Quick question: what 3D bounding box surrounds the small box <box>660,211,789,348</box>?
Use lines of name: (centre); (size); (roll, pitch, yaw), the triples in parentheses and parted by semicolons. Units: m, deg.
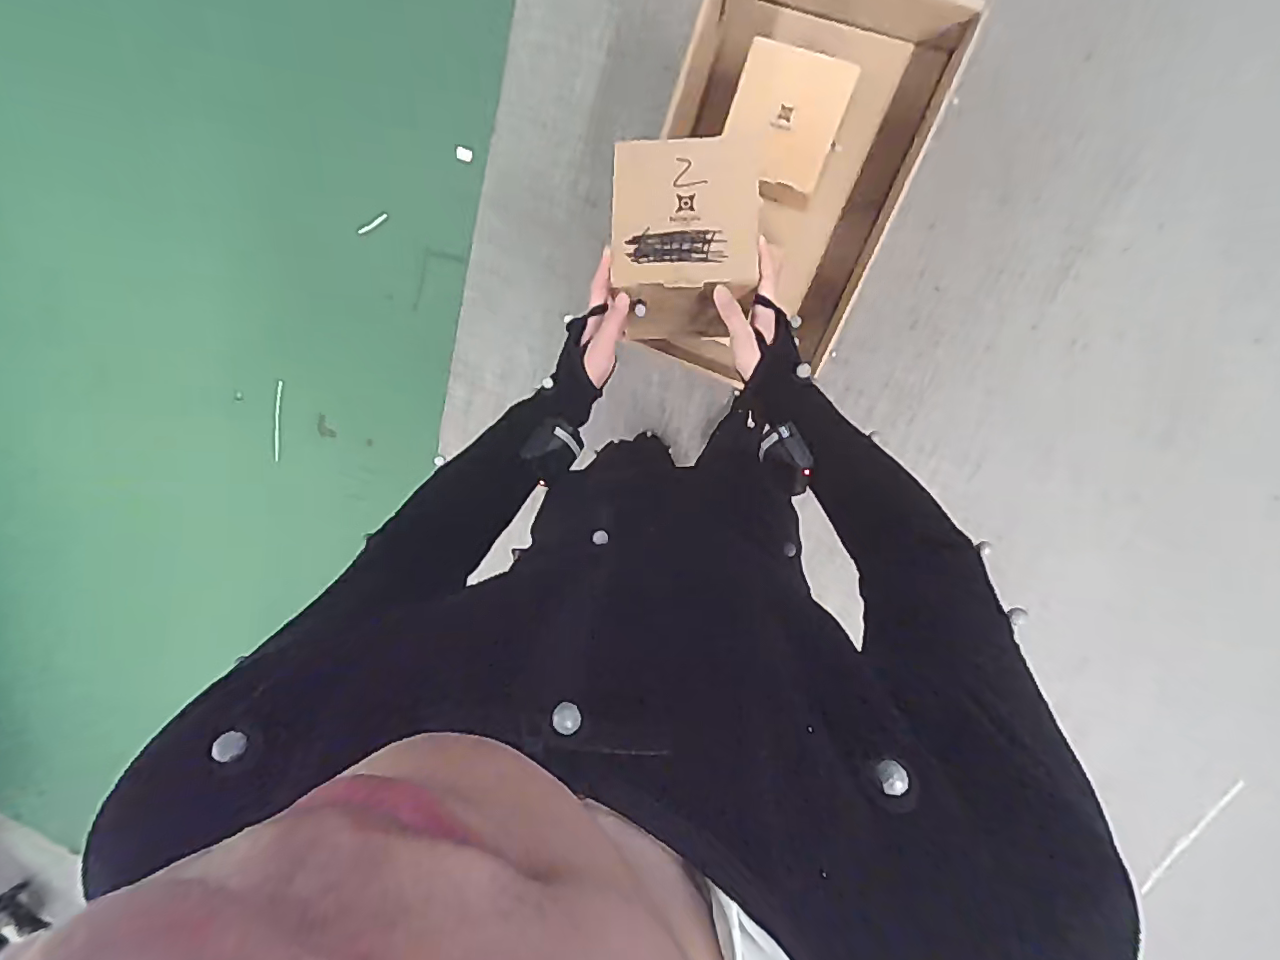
small box: (0.155, -0.354, 0.973); (0.168, 0.176, 0.179); (24, 111, 8)

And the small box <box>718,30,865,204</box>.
small box: (0.241, -0.578, 0.884); (0.168, 0.176, 0.179); (22, 113, 8)
